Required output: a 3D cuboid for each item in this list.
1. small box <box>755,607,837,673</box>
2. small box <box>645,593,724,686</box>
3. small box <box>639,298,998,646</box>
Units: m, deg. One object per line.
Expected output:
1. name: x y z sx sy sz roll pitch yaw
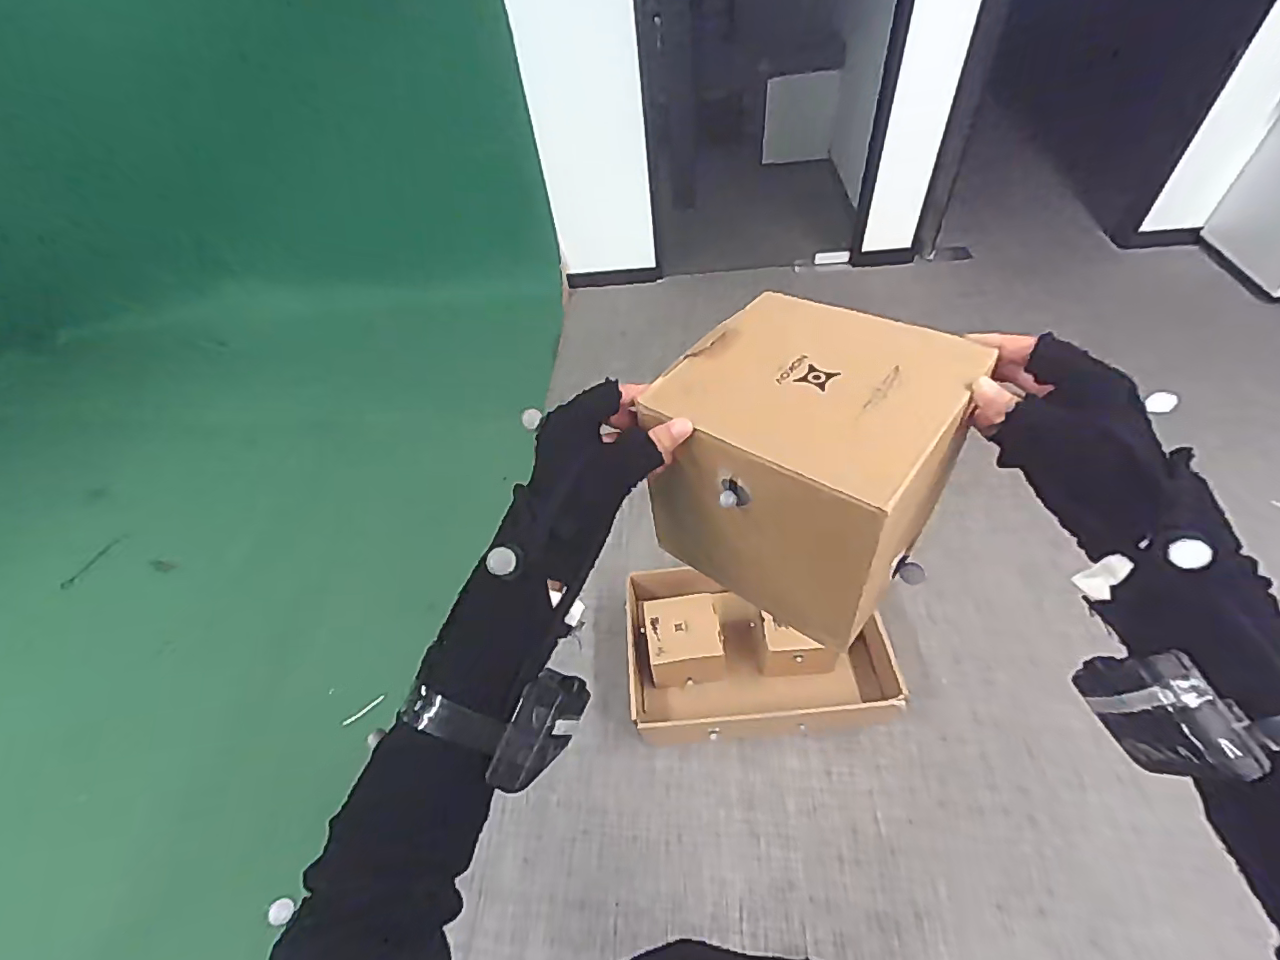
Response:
1. small box: 0.389 0.379 1.370 0.179 0.176 0.168 -5 50 4
2. small box: 0.110 0.410 1.382 0.179 0.176 0.168 -7 49 -1
3. small box: 0.123 -0.008 0.411 0.179 0.176 0.168 30 58 31
